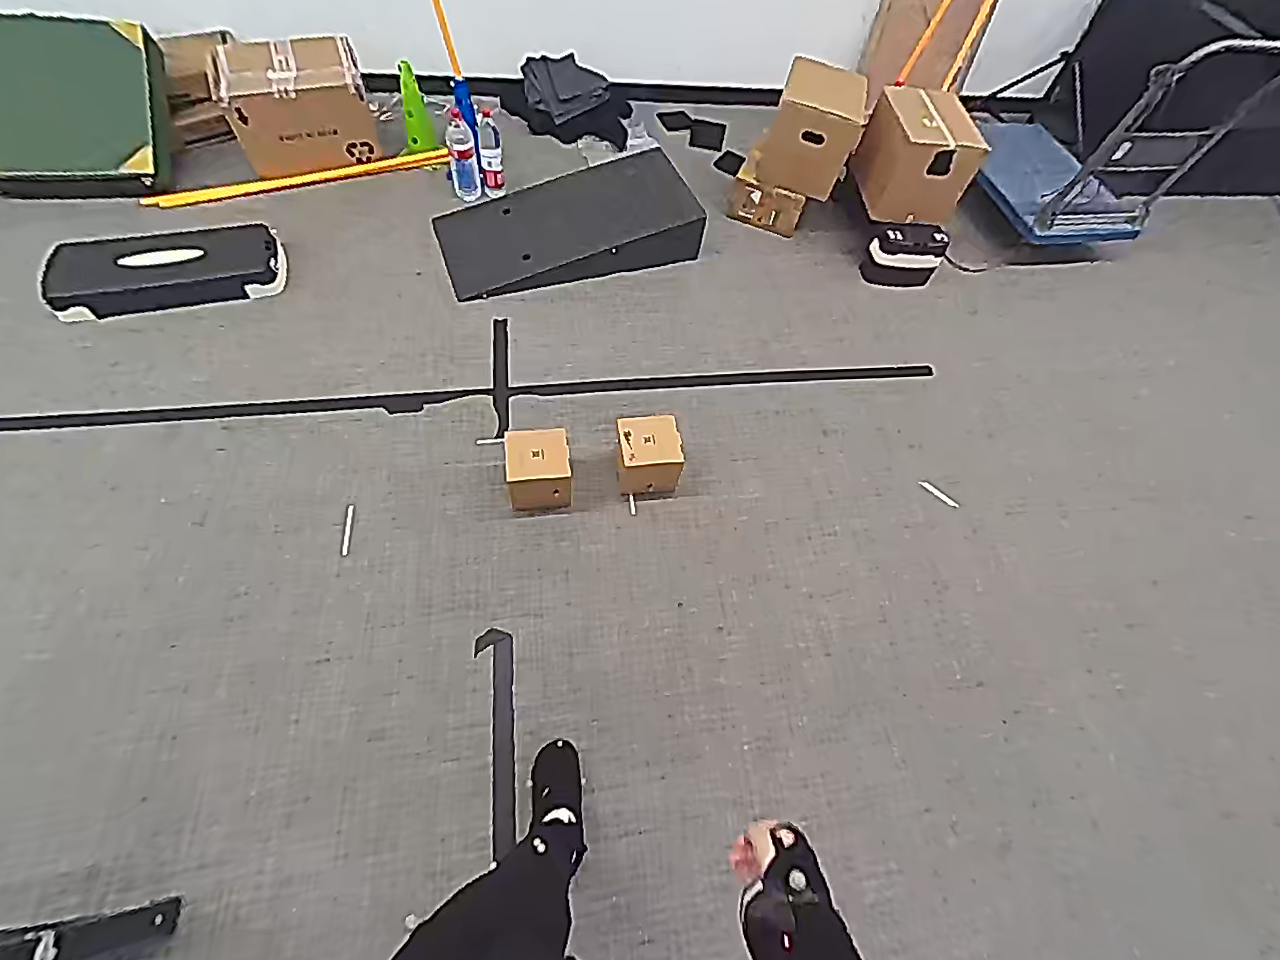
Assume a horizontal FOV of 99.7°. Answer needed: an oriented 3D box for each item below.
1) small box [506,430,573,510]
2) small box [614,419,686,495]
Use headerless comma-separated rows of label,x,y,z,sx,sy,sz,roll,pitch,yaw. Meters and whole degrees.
small box,-0.288,-0.026,1.557,0.179,0.176,0.168,-4,60,-9
small box,0.024,-0.066,1.619,0.179,0.176,0.168,-4,60,-10
